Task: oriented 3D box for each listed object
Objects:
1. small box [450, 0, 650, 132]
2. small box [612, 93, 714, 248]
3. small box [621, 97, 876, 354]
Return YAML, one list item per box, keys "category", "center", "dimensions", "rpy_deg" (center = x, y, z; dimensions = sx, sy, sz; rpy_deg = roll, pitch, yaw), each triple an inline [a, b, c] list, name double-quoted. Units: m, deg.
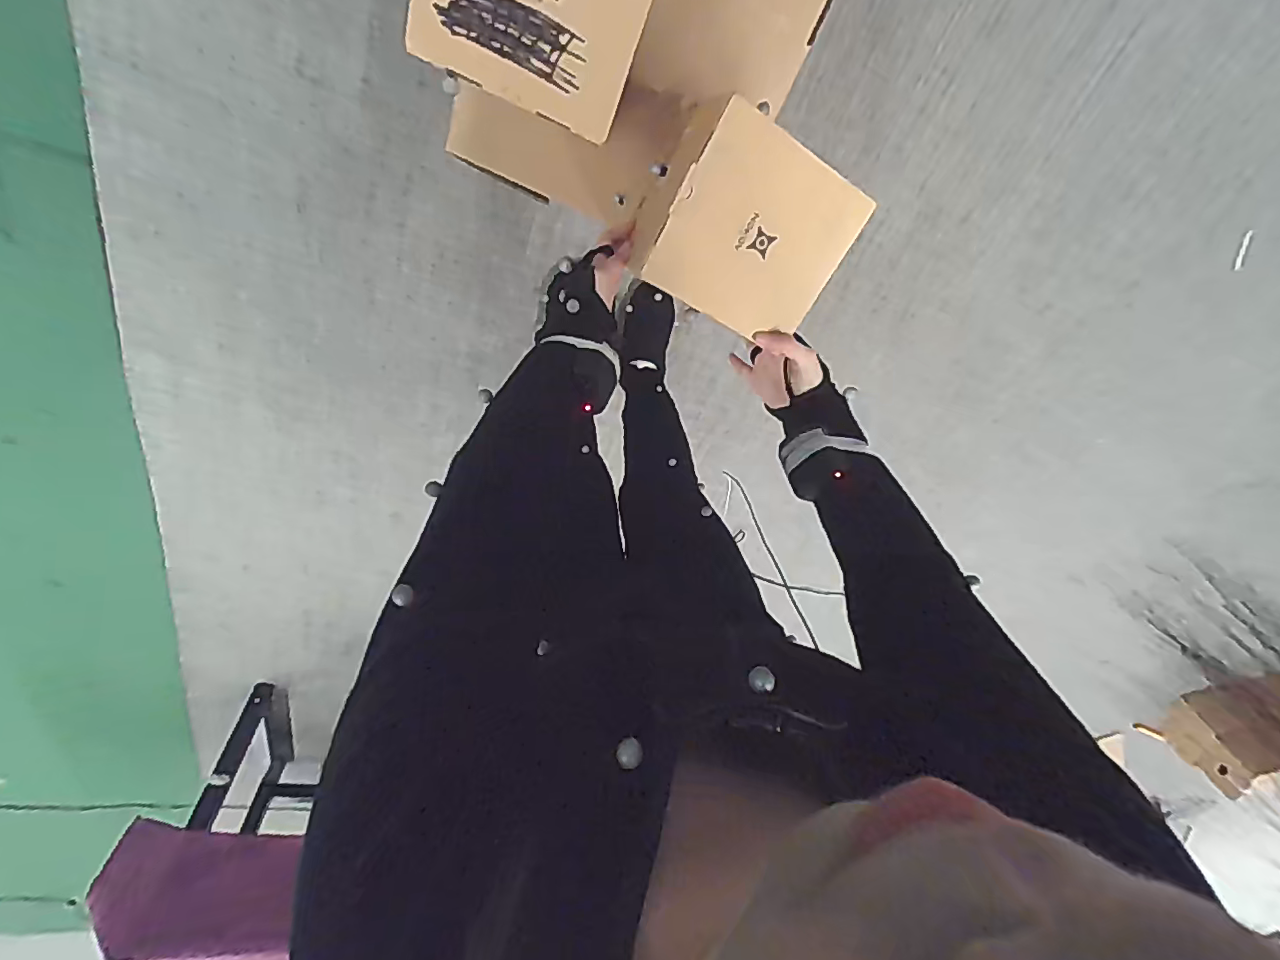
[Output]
- category: "small box"
  center: [-0.090, -0.516, 0.590]
  dimensions: [0.168, 0.176, 0.179]
  rpy_deg: [20, 120, -19]
- category: "small box"
  center: [0.071, -0.374, 0.715]
  dimensions: [0.168, 0.176, 0.179]
  rpy_deg: [19, 120, -22]
- category: "small box"
  center: [0.098, -0.263, 0.572]
  dimensions: [0.179, 0.176, 0.168]
  rpy_deg: [23, 113, -21]
